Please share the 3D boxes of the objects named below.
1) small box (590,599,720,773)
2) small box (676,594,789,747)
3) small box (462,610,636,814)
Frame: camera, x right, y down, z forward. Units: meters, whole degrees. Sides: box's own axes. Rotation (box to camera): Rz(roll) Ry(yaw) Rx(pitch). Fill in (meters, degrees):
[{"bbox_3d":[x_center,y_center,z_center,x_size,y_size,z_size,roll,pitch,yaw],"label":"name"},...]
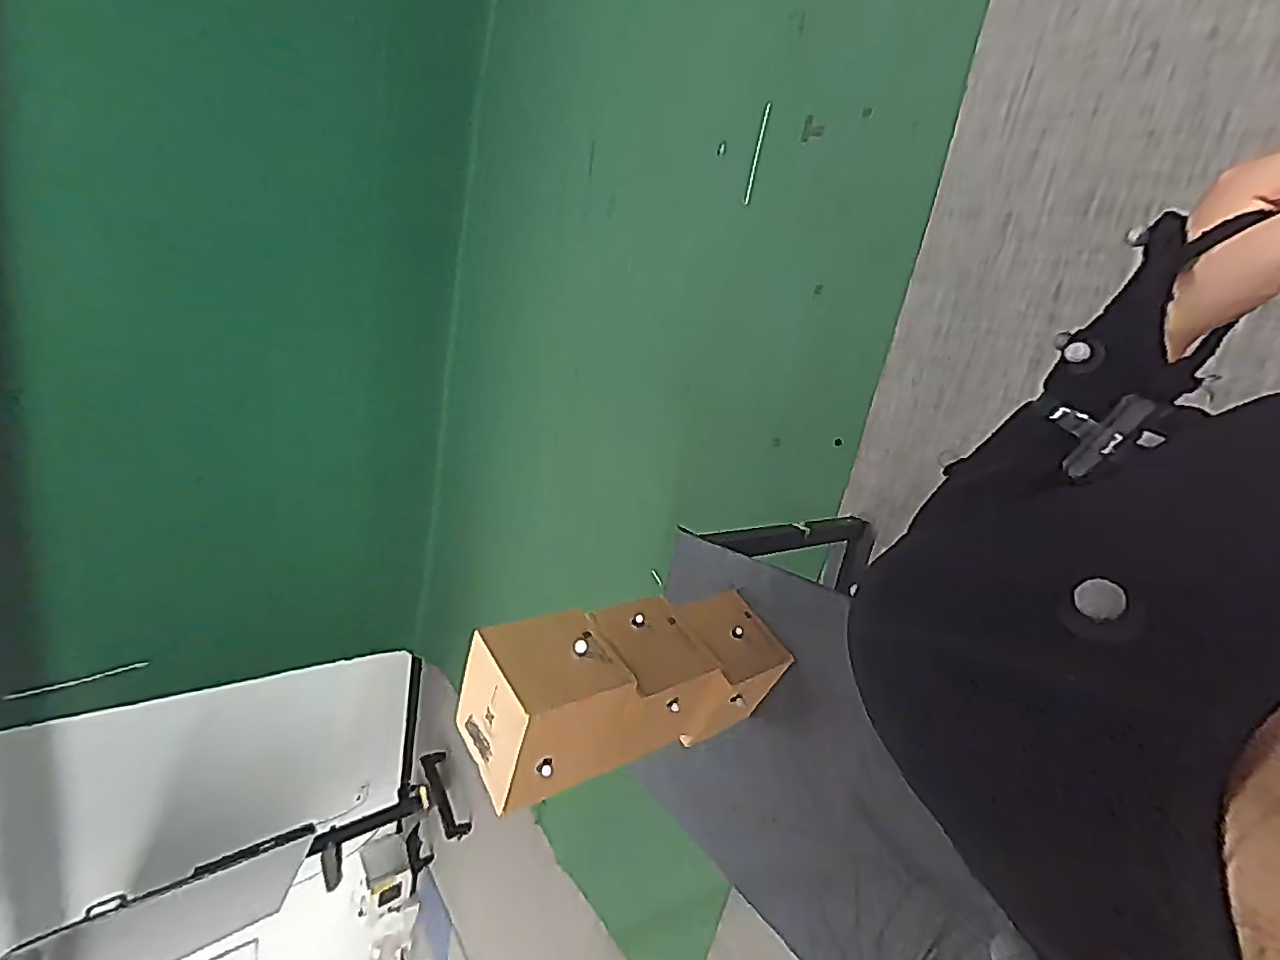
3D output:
[{"bbox_3d":[0.000,0.312,0.856,0.168,0.176,0.179,45,125,40],"label":"small box"},{"bbox_3d":[0.133,0.323,0.950,0.168,0.176,0.179,49,128,36],"label":"small box"},{"bbox_3d":[-0.128,0.308,0.753,0.168,0.176,0.179,37,118,43],"label":"small box"}]
